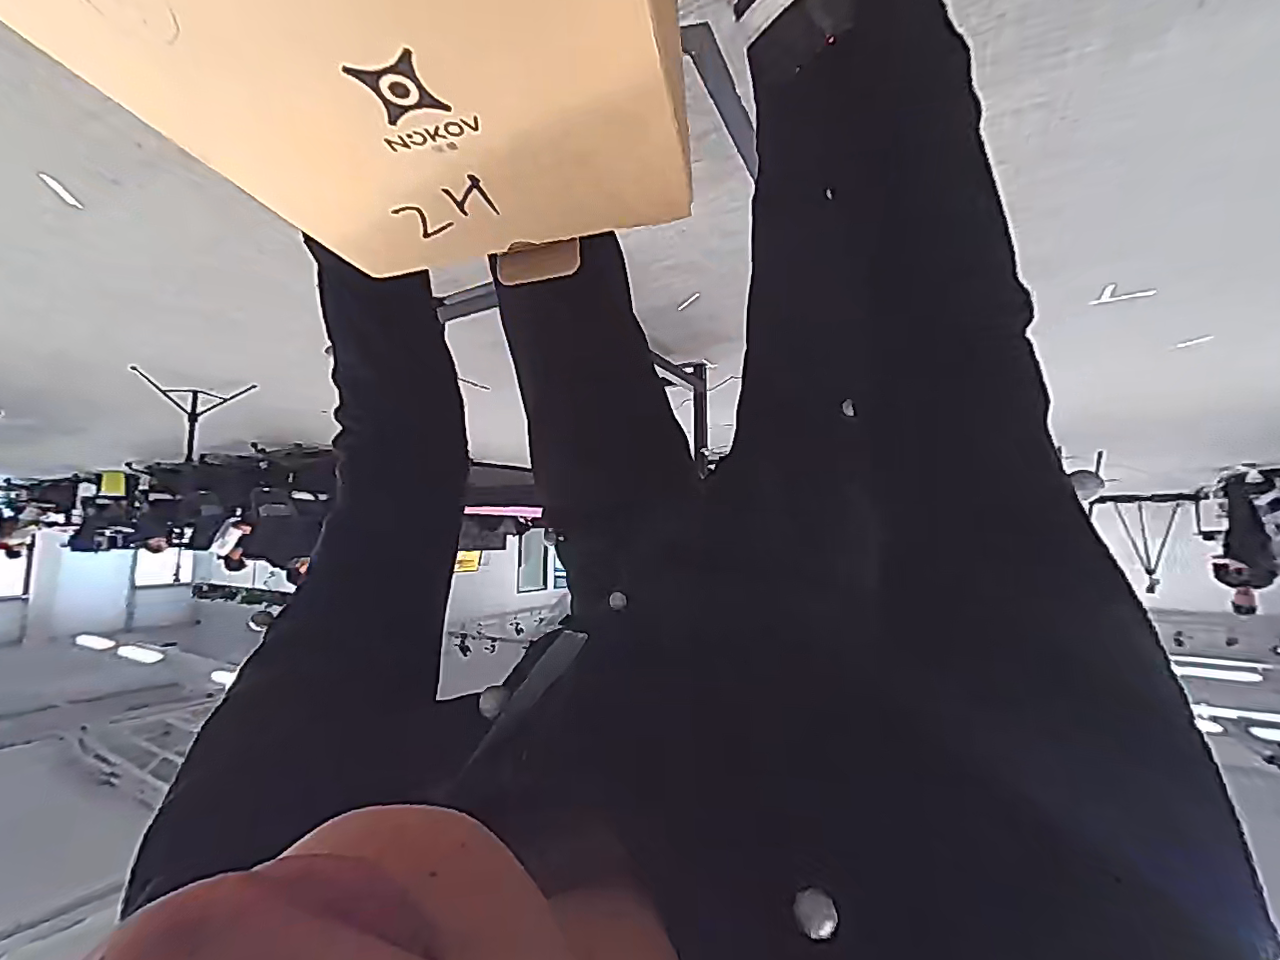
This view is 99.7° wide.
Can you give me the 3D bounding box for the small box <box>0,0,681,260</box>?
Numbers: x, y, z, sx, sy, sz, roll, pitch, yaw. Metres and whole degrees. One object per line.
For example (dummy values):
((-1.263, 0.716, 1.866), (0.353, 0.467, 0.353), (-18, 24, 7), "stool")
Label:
((-0.084, -0.208, 0.182), (0.168, 0.176, 0.179), (-5, 174, 12), "small box")
